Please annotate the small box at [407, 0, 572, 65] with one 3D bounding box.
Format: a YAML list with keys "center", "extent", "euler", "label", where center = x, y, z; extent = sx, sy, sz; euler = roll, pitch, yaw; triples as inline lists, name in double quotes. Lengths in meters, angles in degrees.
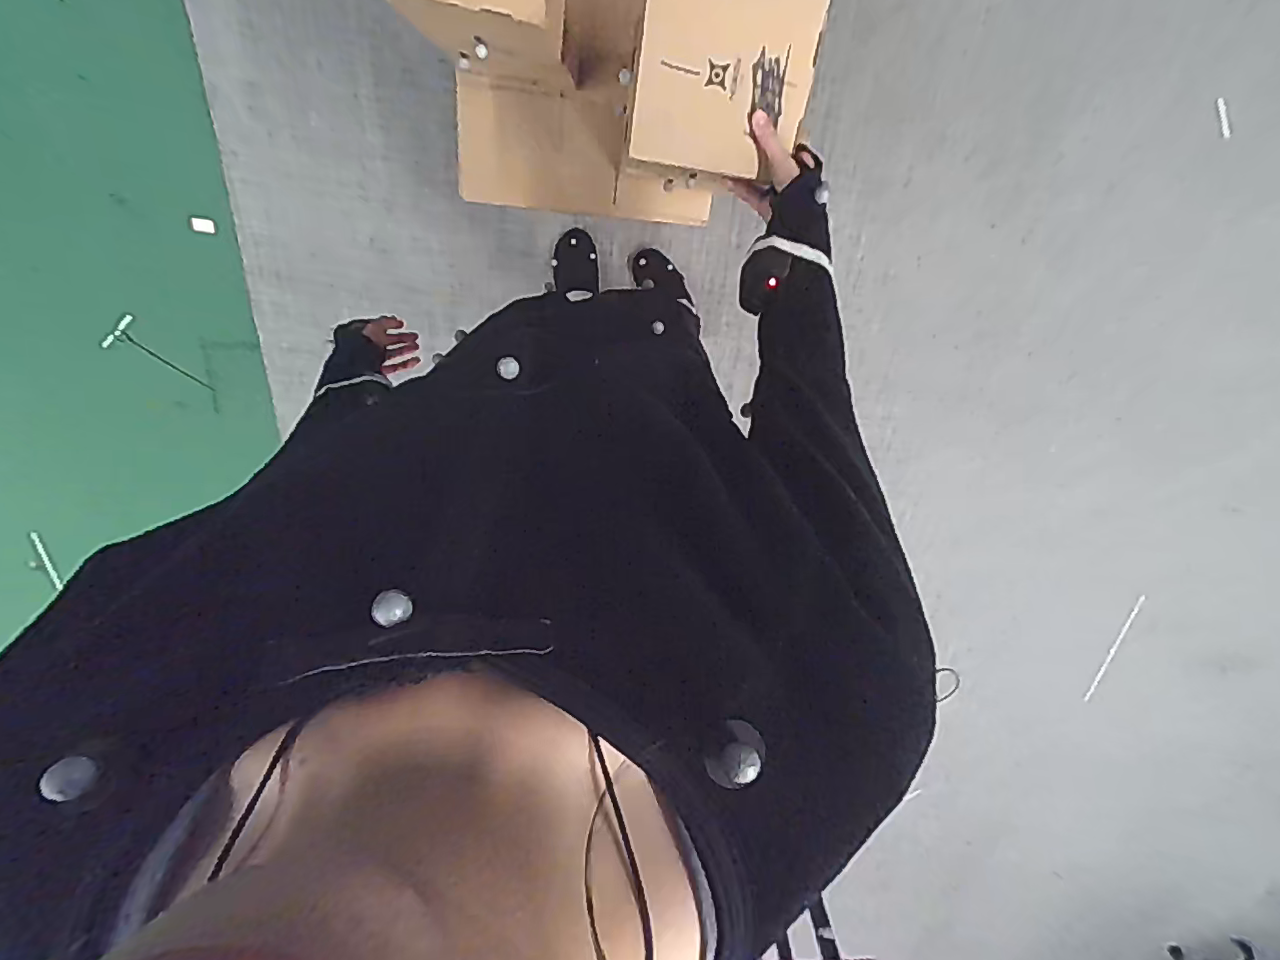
- center: [-0.155, -0.560, 0.544]
  extent: [0.168, 0.176, 0.179]
  euler: [9, 115, -5]
  label: "small box"

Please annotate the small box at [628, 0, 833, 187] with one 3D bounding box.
- center: [0.084, -0.436, 0.608]
  extent: [0.179, 0.176, 0.168]
  euler: [7, 116, -6]
  label: "small box"

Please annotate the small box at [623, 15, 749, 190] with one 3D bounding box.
- center: [0.073, -0.509, 0.755]
  extent: [0.179, 0.176, 0.168]
  euler: [7, 118, -4]
  label: "small box"
